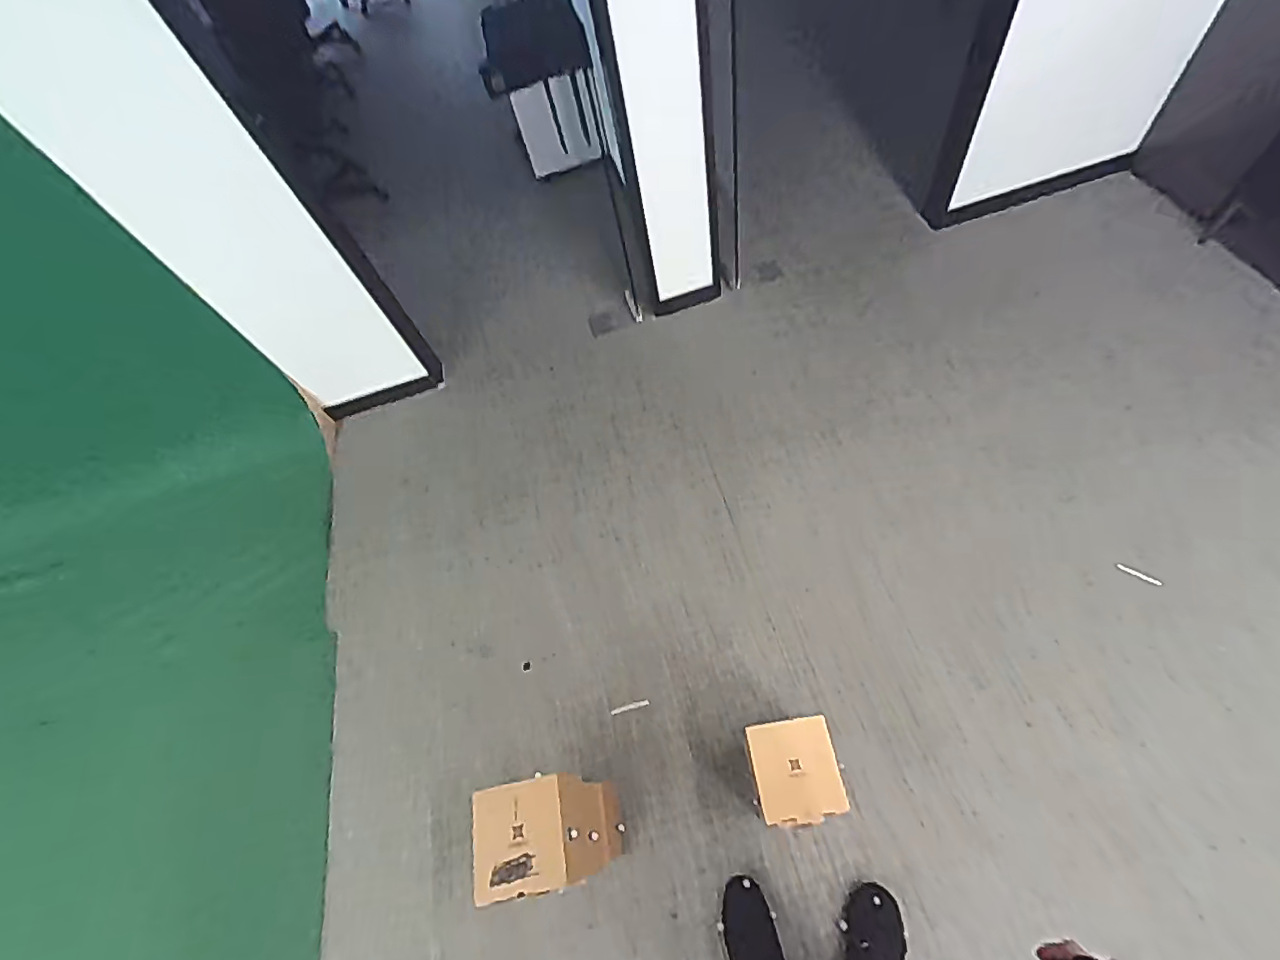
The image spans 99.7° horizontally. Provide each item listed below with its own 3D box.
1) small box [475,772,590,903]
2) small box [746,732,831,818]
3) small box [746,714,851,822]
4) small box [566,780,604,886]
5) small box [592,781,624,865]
[{"bbox_3d":[-0.199,0.665,1.022,0.168,0.176,0.179,-14,59,3],"label":"small box"},{"bbox_3d":[0.344,0.694,1.280,0.168,0.176,0.179,-8,60,9],"label":"small box"},{"bbox_3d":[0.324,0.610,1.144,0.168,0.176,0.179,-11,59,4],"label":"small box"},{"bbox_3d":[-0.179,0.755,1.158,0.168,0.176,0.179,-13,60,4],"label":"small box"},{"bbox_3d":[-0.148,0.831,1.300,0.179,0.176,0.168,-12,59,4],"label":"small box"}]
